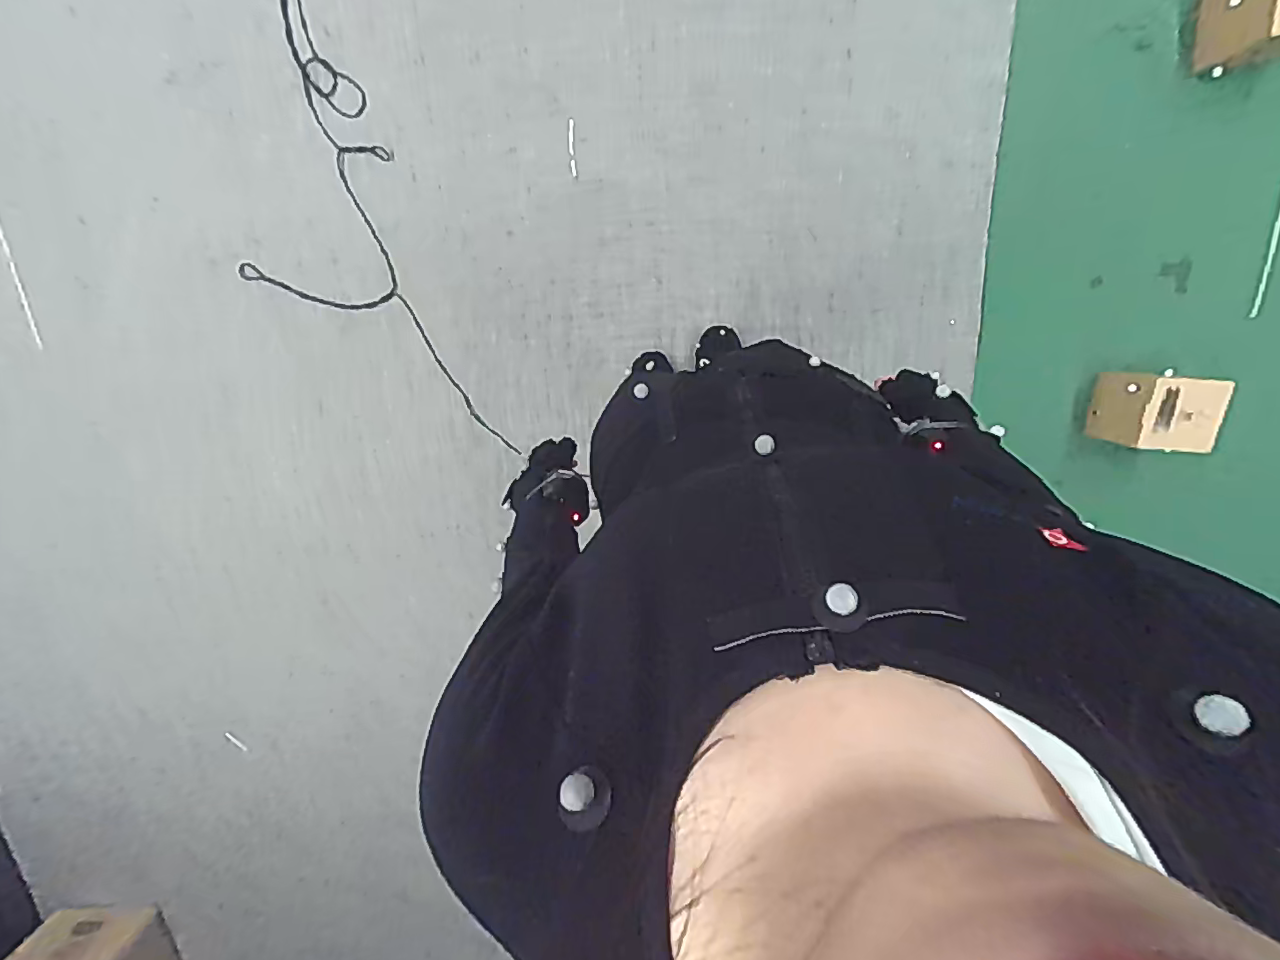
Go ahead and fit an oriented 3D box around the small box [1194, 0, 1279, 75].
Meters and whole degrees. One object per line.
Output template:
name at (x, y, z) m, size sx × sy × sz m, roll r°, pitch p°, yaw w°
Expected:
small box at (1.283, -0.950, 1.086) m, size 0.168 × 0.176 × 0.179 m, roll -4°, pitch 104°, yaw 4°
